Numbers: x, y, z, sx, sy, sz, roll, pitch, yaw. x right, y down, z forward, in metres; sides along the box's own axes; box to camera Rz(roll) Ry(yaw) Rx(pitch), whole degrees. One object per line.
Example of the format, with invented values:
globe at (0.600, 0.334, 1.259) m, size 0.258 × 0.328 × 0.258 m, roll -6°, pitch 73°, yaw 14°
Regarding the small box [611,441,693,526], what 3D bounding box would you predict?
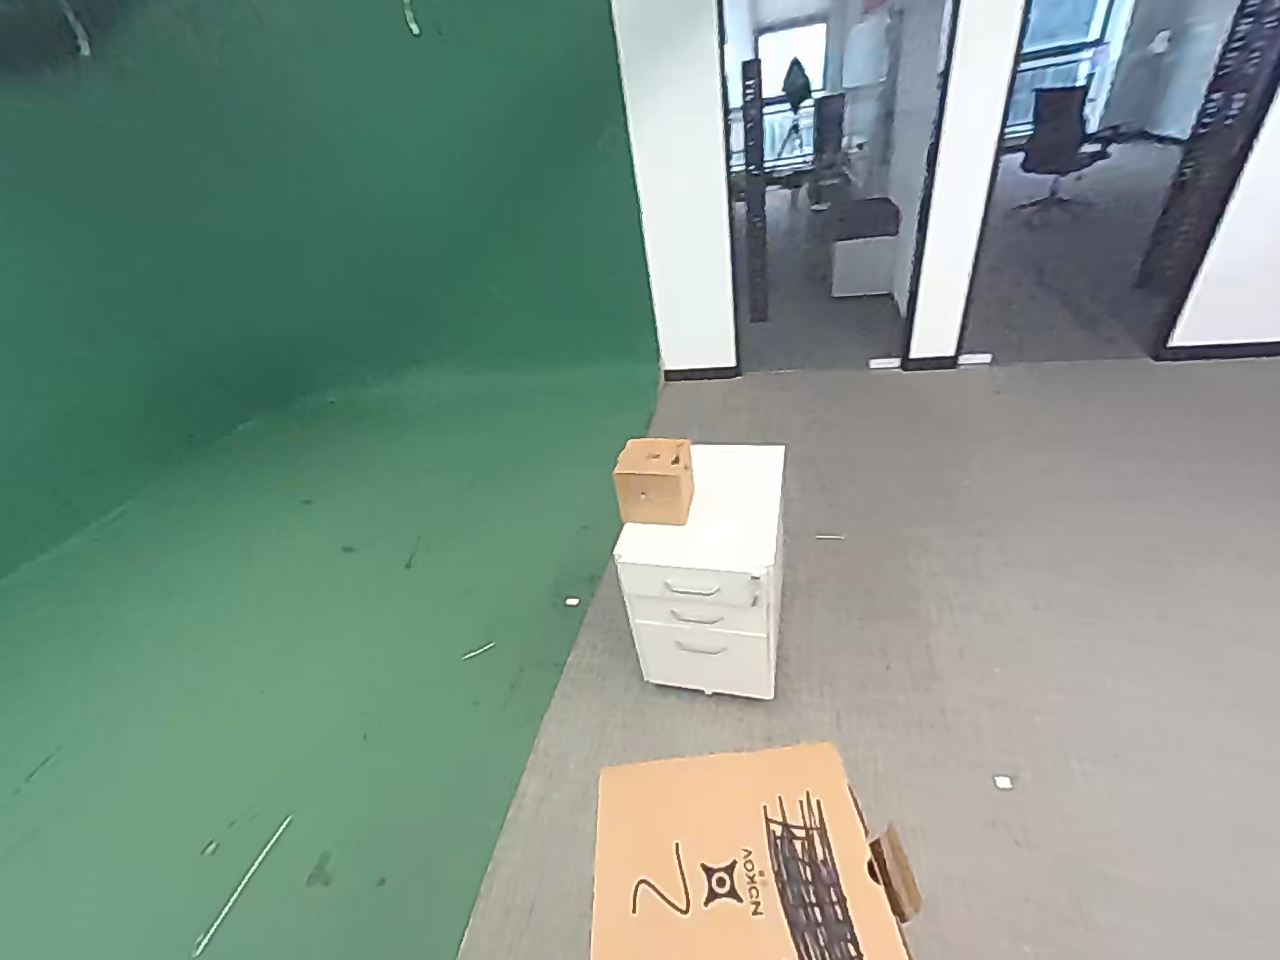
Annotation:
small box at (0.039, 0.009, 1.449) m, size 0.179 × 0.176 × 0.168 m, roll 2°, pitch 37°, yaw 15°
